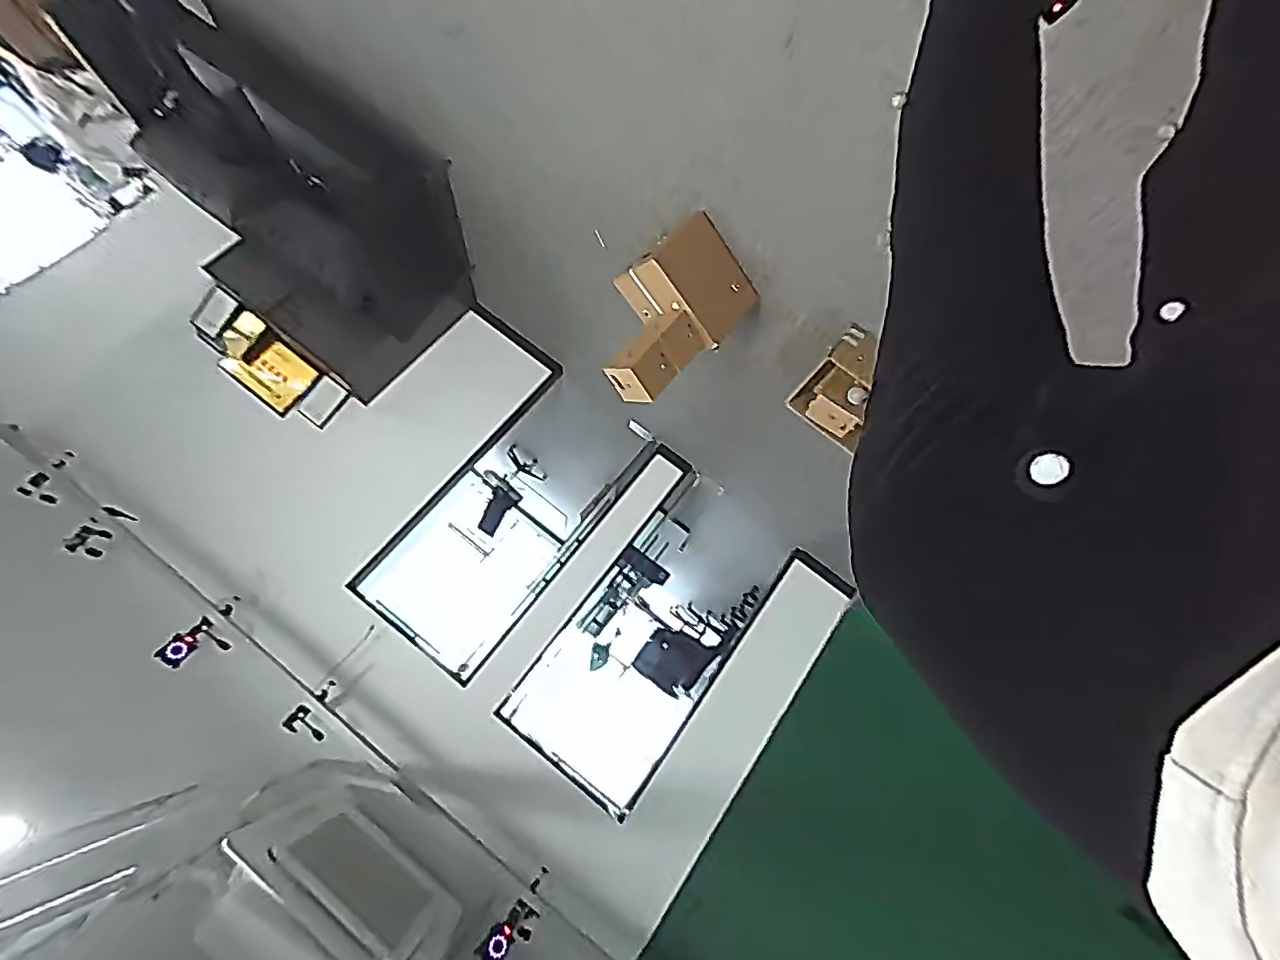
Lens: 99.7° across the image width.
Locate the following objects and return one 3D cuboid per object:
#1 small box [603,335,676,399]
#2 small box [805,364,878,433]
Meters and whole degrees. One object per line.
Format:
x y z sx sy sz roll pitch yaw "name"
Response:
0.001 -0.425 2.018 0.179 0.176 0.168 14 149 50 "small box"
0.782 -0.324 2.104 0.179 0.176 0.168 36 161 8 "small box"
